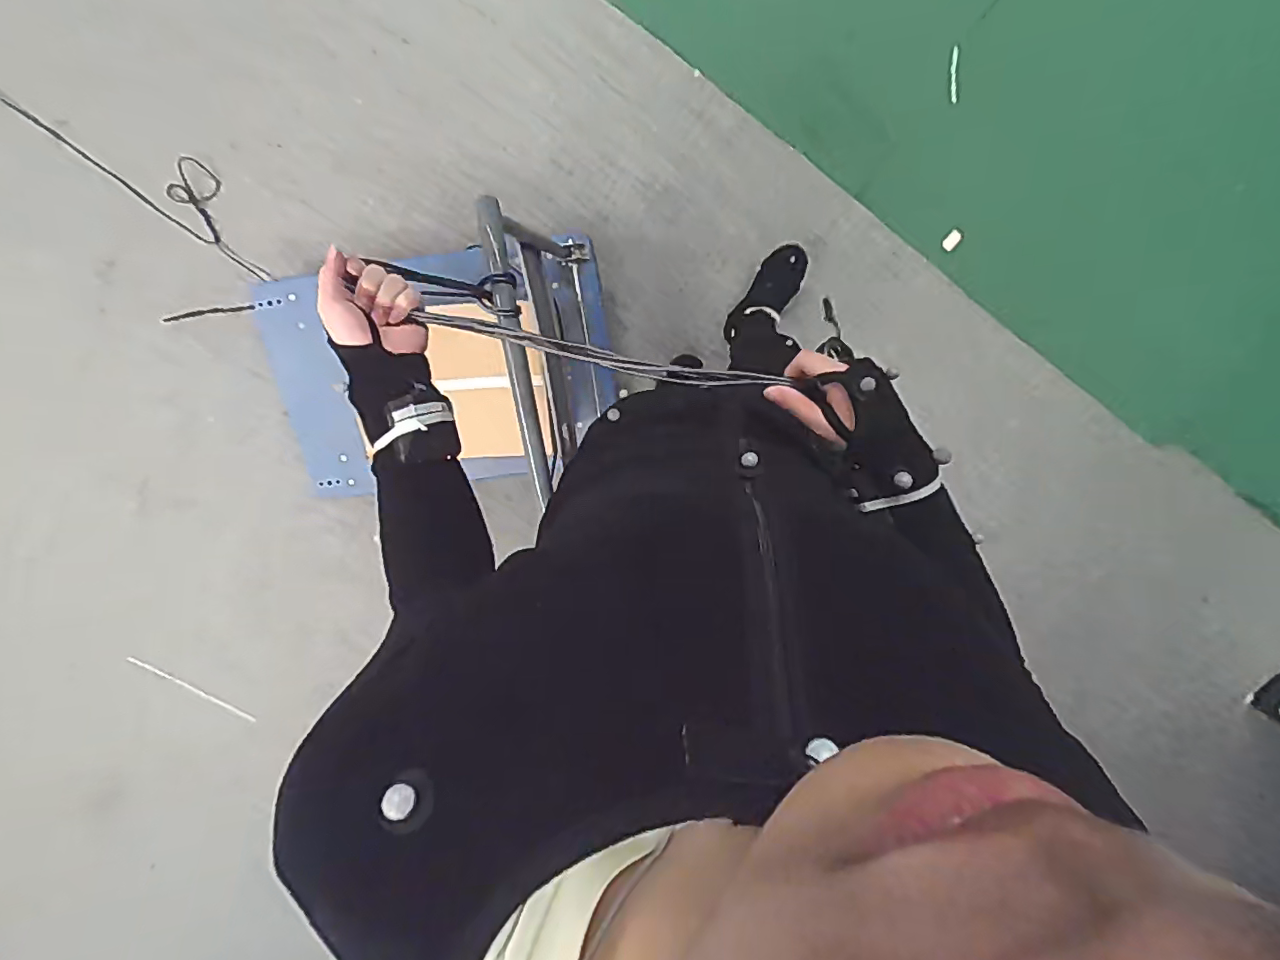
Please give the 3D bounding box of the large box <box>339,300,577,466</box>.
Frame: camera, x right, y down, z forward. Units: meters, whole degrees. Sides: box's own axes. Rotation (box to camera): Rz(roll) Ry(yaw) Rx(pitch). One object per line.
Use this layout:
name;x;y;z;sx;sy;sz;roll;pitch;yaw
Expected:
large box;-0.377;-0.232;1.233;0.408;0.320;0.320;-3;107;3
